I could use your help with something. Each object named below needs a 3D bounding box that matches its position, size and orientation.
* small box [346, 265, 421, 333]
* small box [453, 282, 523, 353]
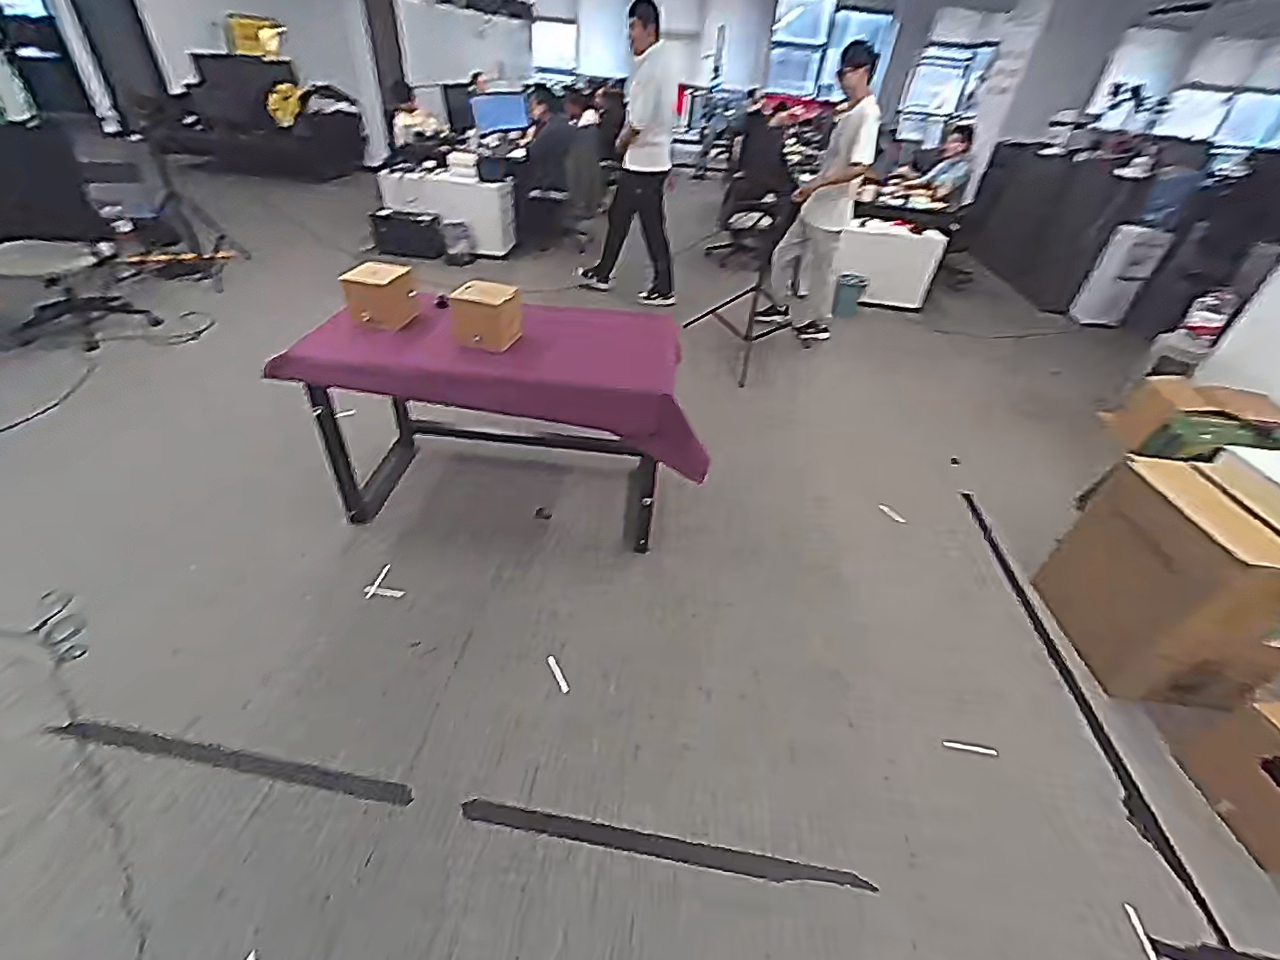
[{"bbox_3d":[-0.883,-0.631,1.884,0.168,0.176,0.179,9,39,5],"label":"small box"},{"bbox_3d":[-0.505,-0.546,1.825,0.179,0.176,0.168,12,38,7],"label":"small box"}]
